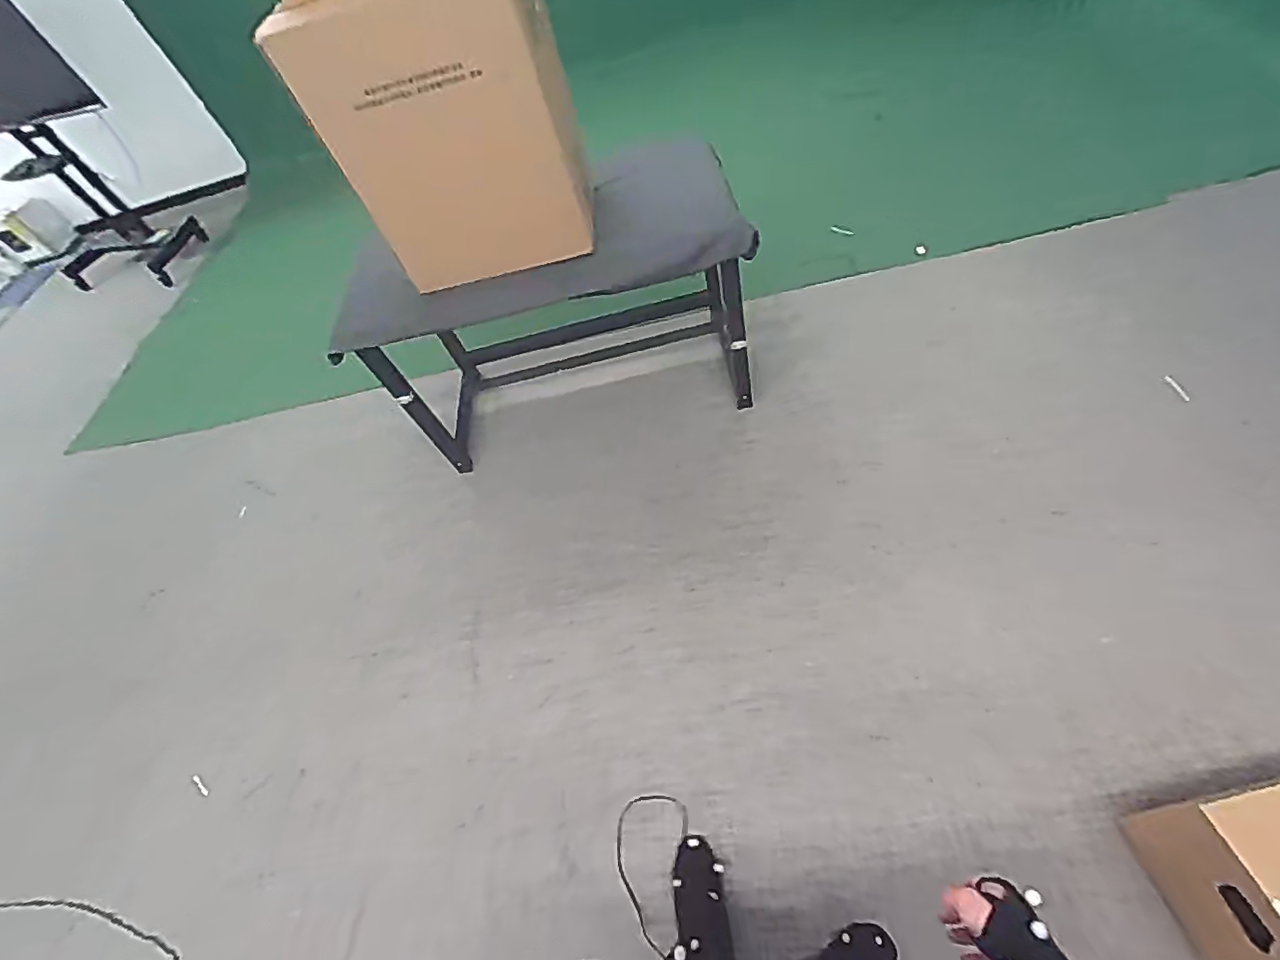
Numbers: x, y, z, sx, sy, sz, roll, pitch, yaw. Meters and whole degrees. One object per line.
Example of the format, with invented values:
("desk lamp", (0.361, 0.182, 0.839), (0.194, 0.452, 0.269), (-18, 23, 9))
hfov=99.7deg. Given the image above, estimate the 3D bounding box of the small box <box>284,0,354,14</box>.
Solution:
("small box", (-0.675, -1.096, 1.111), (0.168, 0.176, 0.179), (-10, 54, 6))
